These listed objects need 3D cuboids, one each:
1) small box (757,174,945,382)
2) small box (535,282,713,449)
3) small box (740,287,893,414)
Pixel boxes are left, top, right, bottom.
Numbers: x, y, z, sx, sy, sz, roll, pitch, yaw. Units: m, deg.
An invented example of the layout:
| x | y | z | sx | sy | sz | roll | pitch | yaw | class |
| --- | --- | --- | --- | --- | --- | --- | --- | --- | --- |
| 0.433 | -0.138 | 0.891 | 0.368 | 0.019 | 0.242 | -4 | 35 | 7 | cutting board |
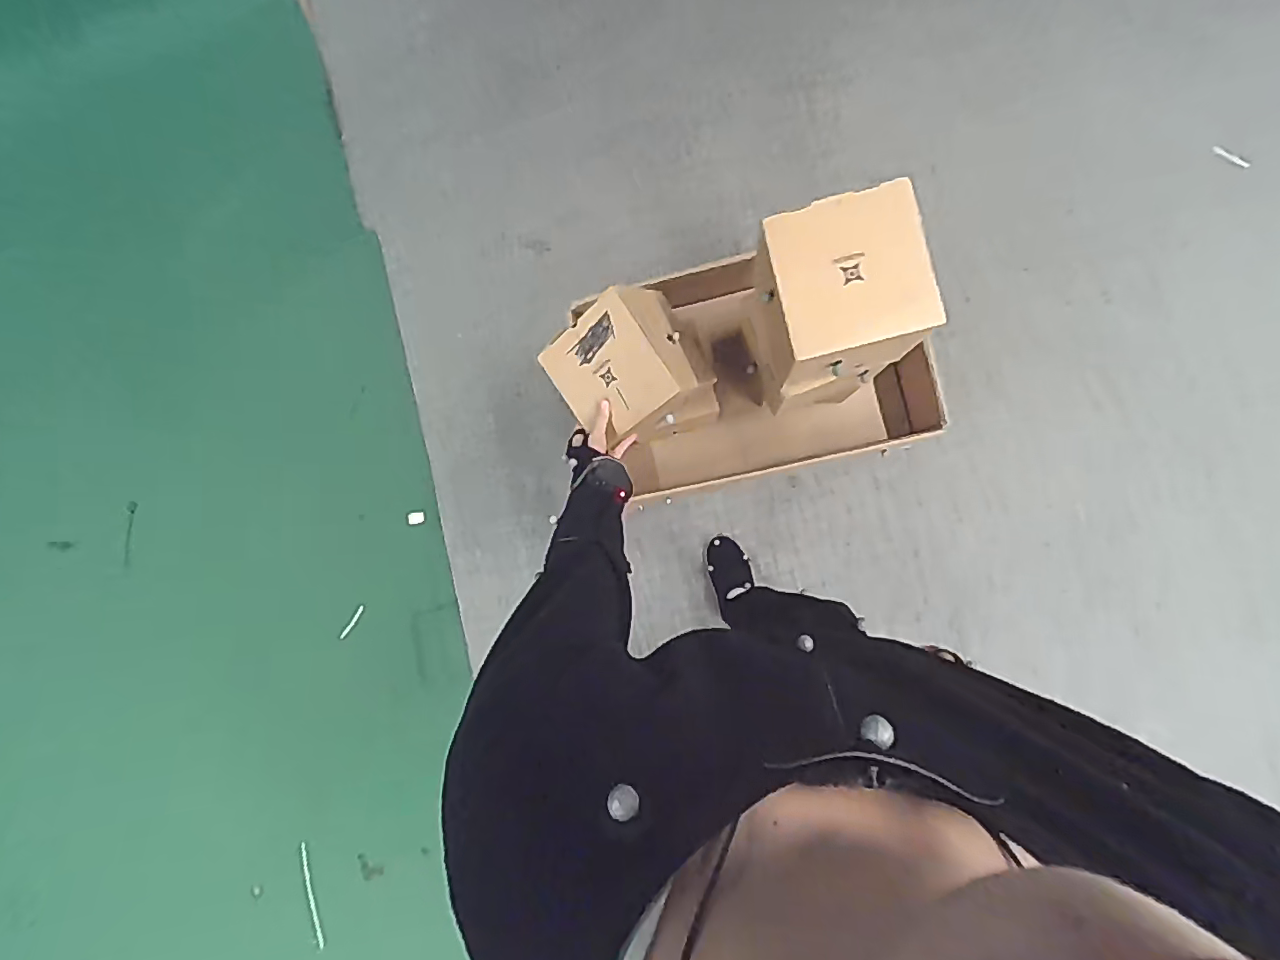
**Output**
| x | y | z | sx | sy | sz | roll | pitch | yaw | class |
| --- | --- | --- | --- | --- | --- | --- | --- | --- | --- |
| 0.247 | -0.231 | 0.676 | 0.168 | 0.176 | 0.179 | -13 | 85 | 8 | small box |
| -0.018 | -0.173 | 0.821 | 0.168 | 0.176 | 0.179 | -33 | 90 | 31 | small box |
| 0.264 | -0.217 | 0.837 | 0.179 | 0.176 | 0.168 | -21 | 84 | 8 | small box |
